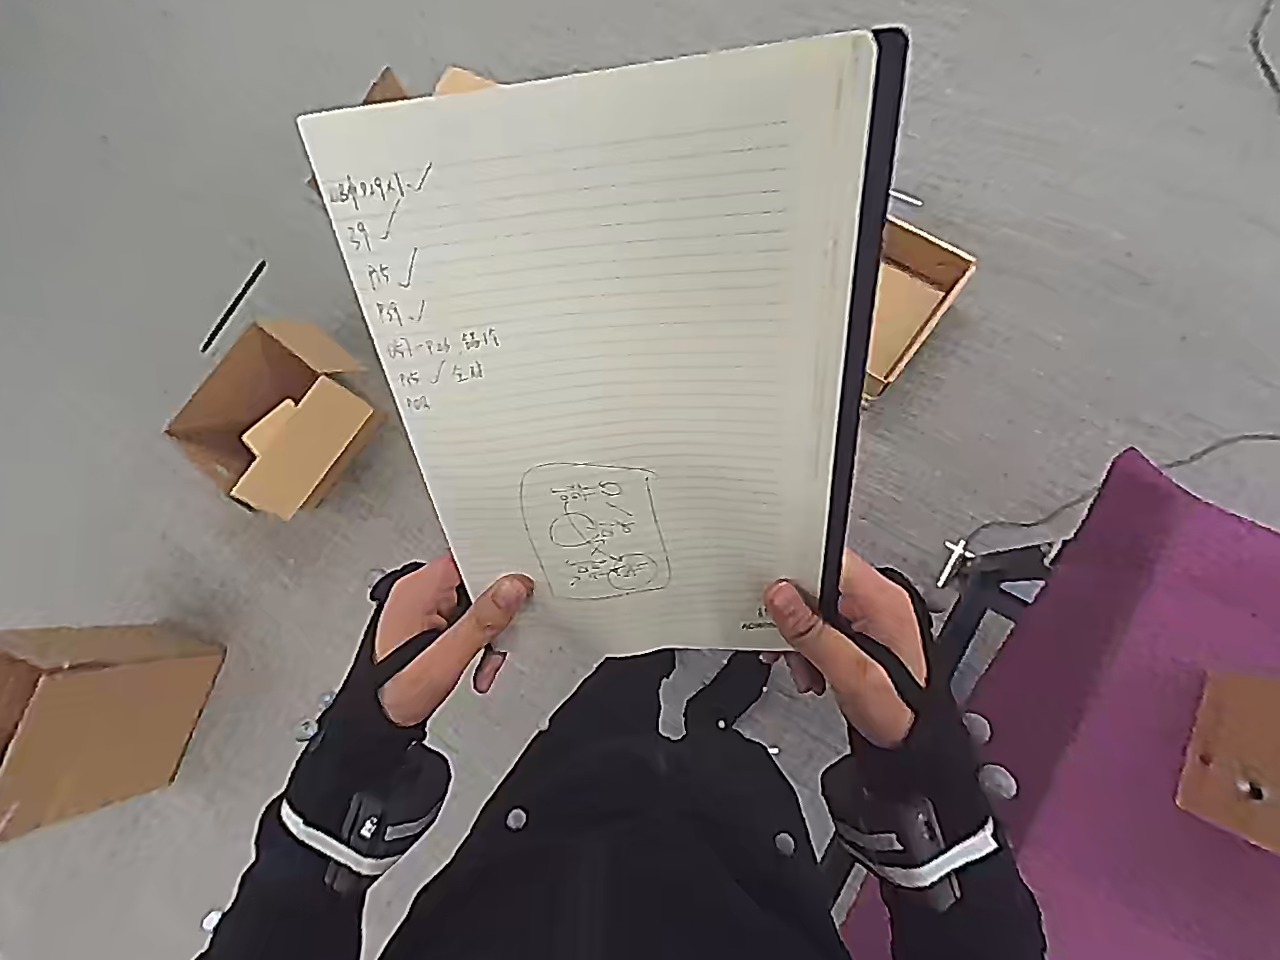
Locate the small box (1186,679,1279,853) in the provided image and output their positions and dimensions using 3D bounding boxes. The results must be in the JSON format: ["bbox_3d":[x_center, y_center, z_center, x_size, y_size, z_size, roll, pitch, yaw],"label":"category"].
[{"bbox_3d":[0.706,0.311,0.526,0.179,0.176,0.168,22,84,13],"label":"small box"}]
